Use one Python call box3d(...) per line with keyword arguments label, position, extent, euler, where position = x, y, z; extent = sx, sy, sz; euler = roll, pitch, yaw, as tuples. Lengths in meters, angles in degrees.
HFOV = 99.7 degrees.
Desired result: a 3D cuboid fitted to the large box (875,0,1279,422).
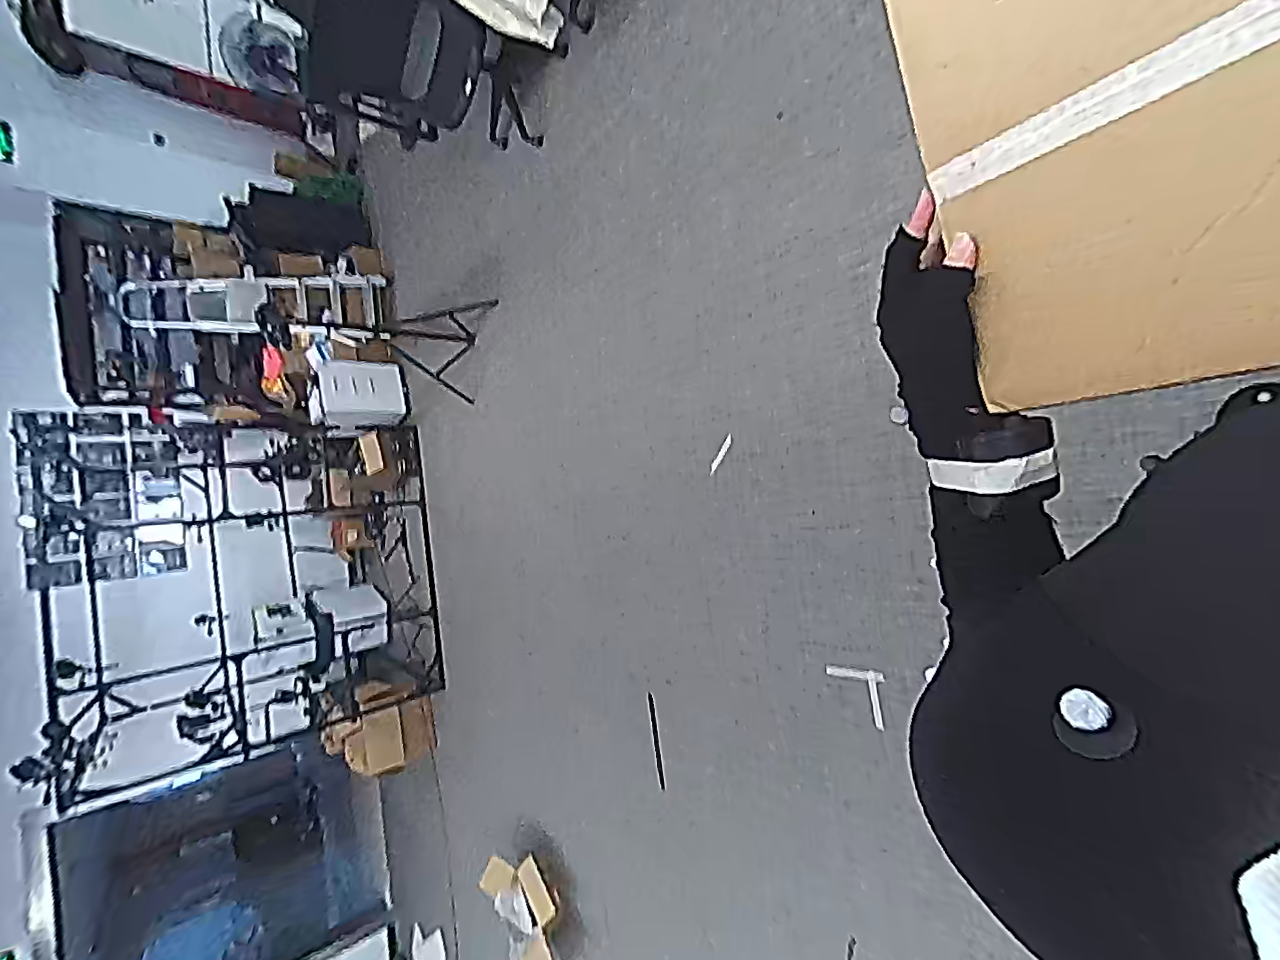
box3d(label="large box", position=(0.427, -0.254, 0.297), extent=(0.408, 0.320, 0.320), euler=(-10, 99, 54))
